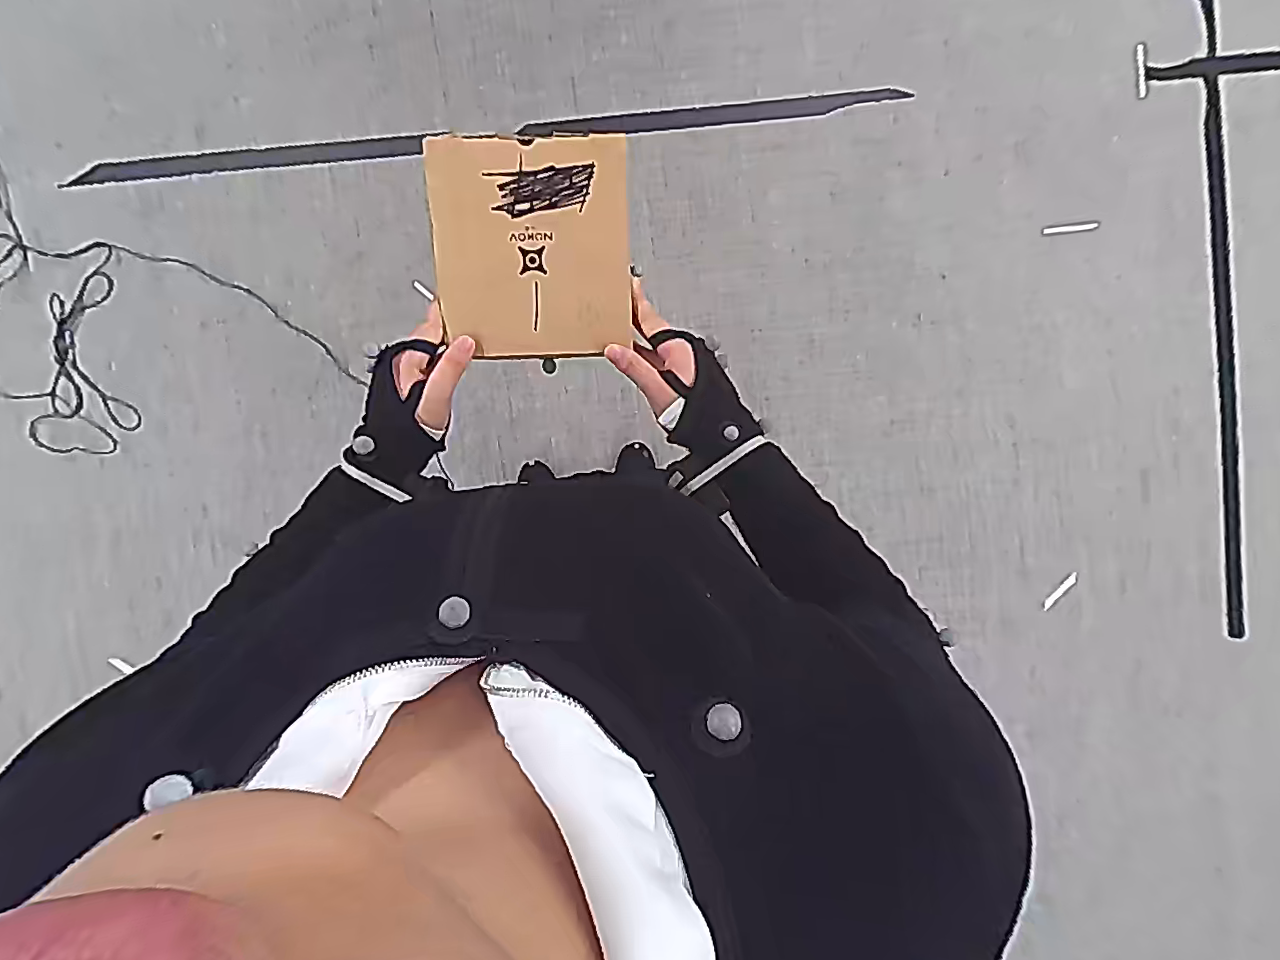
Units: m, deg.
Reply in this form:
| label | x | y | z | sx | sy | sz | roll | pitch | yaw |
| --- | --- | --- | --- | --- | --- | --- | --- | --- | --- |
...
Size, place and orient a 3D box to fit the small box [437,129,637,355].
| label | x | y | z | sx | sy | sz | roll | pitch | yaw |
| --- | --- | --- | --- | --- | --- | --- | --- | --- | --- |
| small box | -0.089 | -0.217 | 0.538 | 0.168 | 0.176 | 0.179 | -1 | 102 | -3 |
